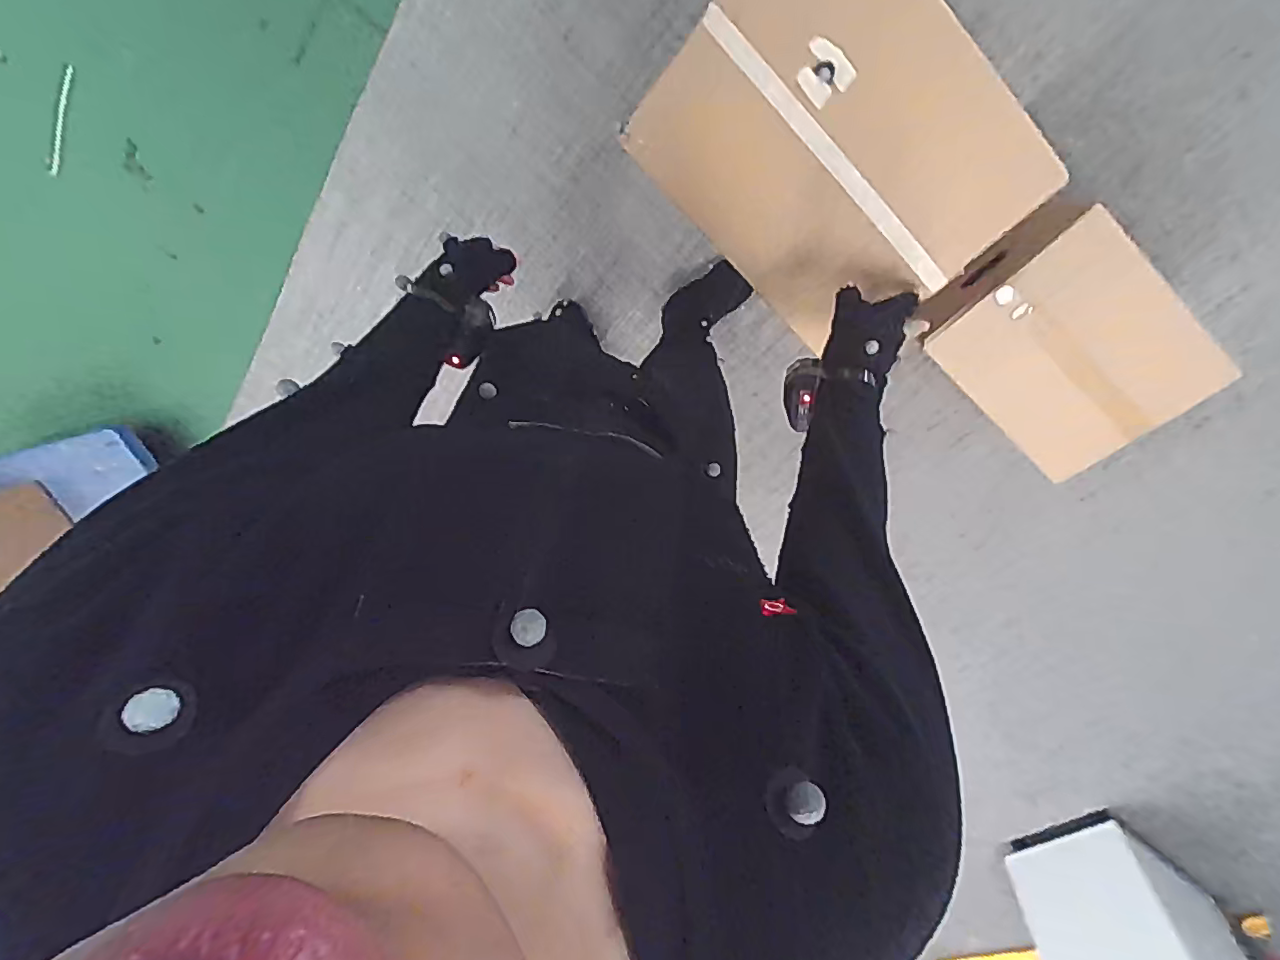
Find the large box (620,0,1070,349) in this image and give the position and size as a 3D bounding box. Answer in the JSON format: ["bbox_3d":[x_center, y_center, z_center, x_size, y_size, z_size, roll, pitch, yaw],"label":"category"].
[{"bbox_3d":[0.252,-0.460,0.730,0.408,0.320,0.320,43,122,-11],"label":"large box"}]
